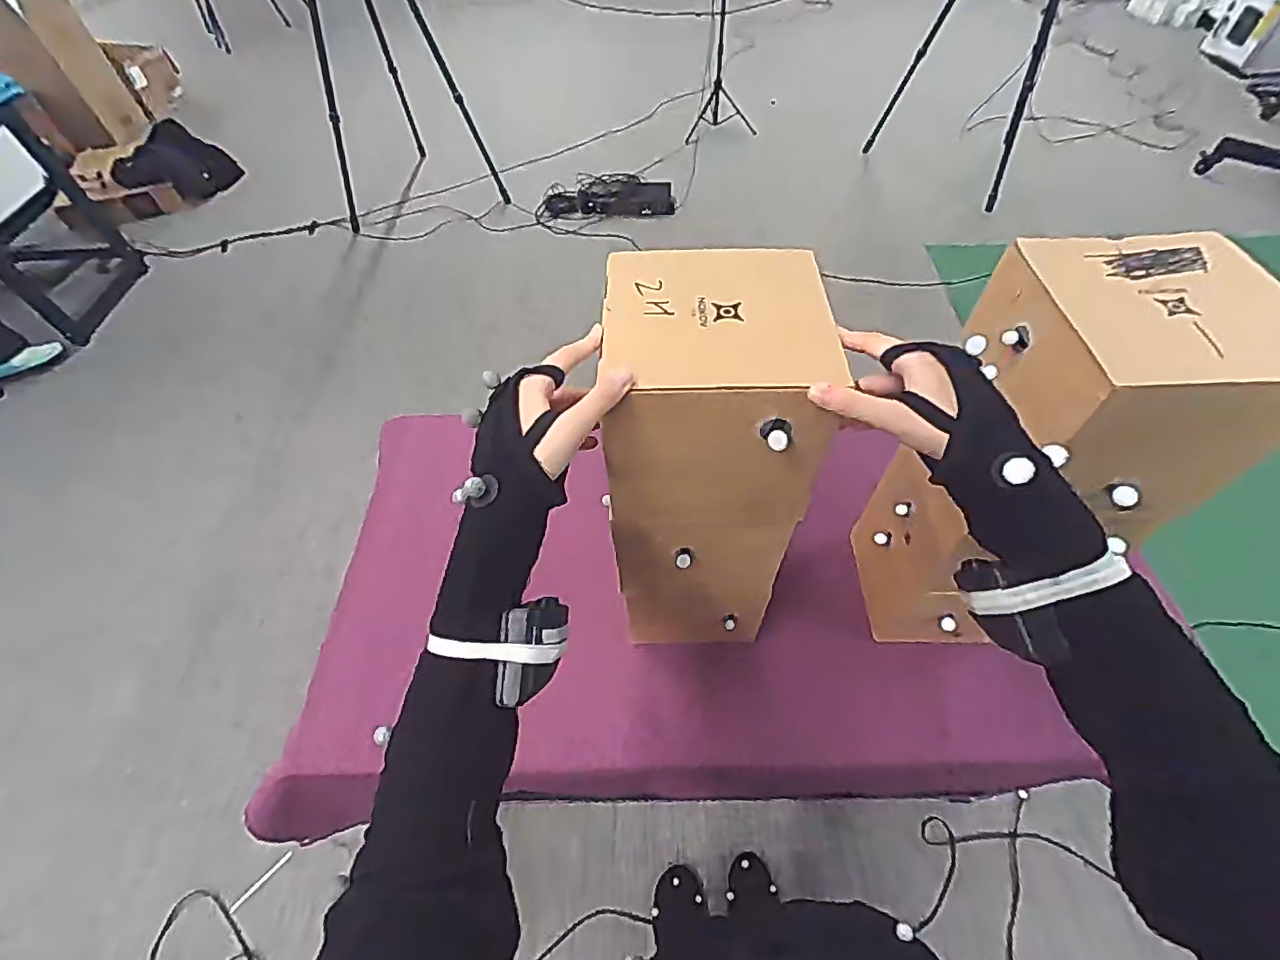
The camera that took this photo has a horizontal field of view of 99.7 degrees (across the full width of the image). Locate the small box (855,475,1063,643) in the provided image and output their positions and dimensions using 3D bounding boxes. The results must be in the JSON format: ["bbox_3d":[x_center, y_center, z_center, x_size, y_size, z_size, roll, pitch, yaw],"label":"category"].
[{"bbox_3d":[0.409,0.111,0.732,0.168,0.176,0.179,0,53,3],"label":"small box"}]

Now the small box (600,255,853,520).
[{"bbox_3d":[0.063,-0.076,0.478,0.179,0.176,0.168,-1,52,3],"label":"small box"}]

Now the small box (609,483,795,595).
[{"bbox_3d":[0.063,0.021,0.611,0.179,0.176,0.168,-1,53,2],"label":"small box"}]

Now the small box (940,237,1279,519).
[{"bbox_3d":[0.393,-0.084,0.468,0.168,0.176,0.179,-2,53,3],"label":"small box"}]

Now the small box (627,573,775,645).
[{"bbox_3d":[0.074,0.118,0.743,0.179,0.176,0.168,-2,52,2],"label":"small box"}]
